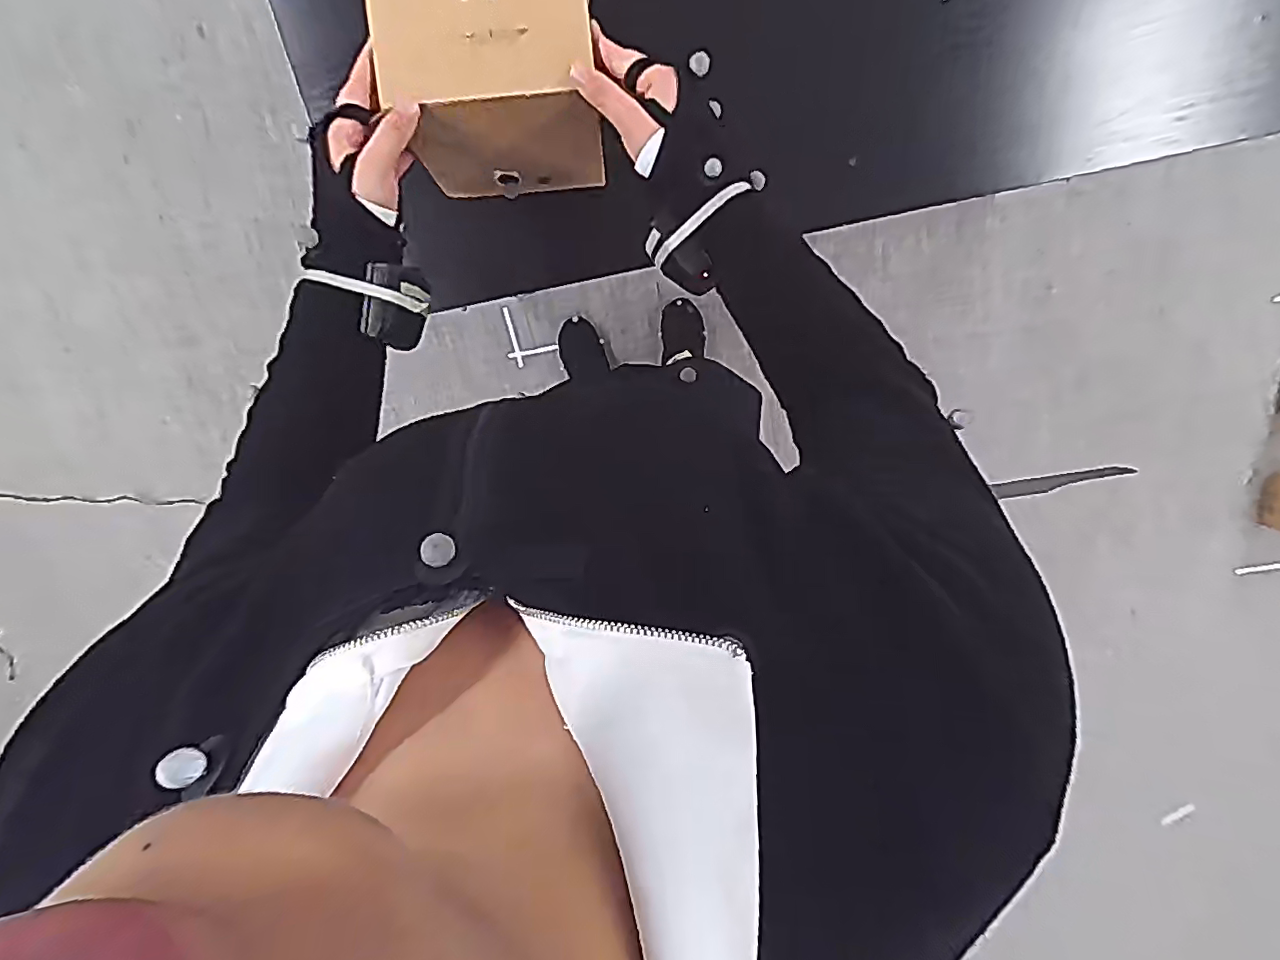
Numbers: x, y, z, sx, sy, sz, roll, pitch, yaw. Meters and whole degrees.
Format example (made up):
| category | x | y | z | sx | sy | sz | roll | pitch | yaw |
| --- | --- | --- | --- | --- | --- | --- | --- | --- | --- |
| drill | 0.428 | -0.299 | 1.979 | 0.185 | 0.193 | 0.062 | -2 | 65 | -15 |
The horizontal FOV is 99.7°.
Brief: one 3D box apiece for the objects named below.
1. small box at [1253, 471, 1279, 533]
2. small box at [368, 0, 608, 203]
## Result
| category | x | y | z | sx | sy | sz | roll | pitch | yaw |
| --- | --- | --- | --- | --- | --- | --- | --- | --- | --- |
| small box | 1.856 | 0.069 | 1.474 | 0.179 | 0.176 | 0.168 | -8 | 110 | 4 |
| small box | -0.120 | -0.373 | 0.474 | 0.168 | 0.176 | 0.179 | -6 | 96 | 0 |
